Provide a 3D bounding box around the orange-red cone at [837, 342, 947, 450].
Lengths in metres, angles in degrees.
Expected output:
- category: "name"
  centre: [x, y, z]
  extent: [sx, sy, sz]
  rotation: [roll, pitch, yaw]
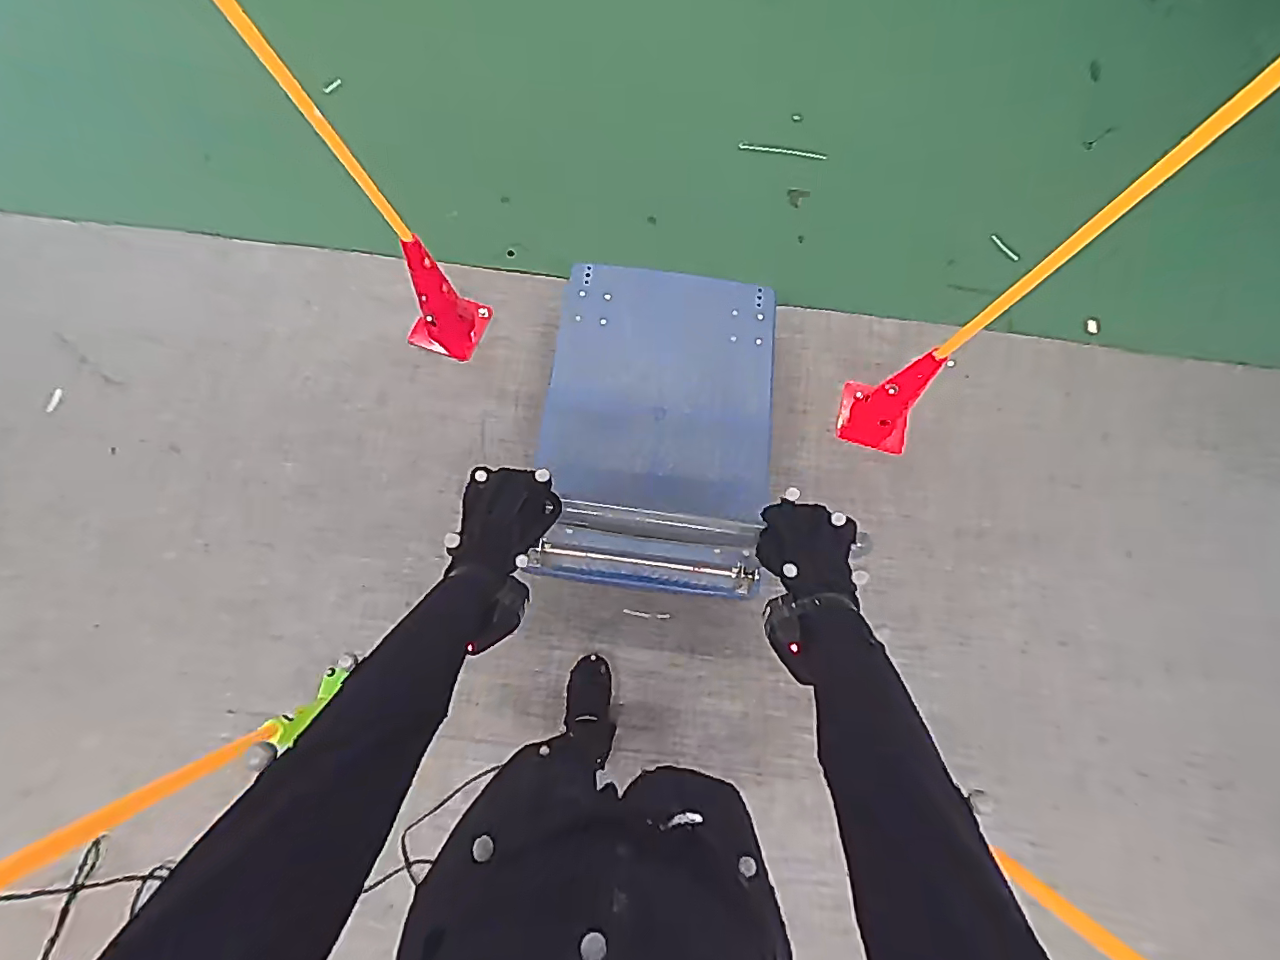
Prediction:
- category: "orange-red cone"
  centre: [0.692, -0.248, 1.421]
  extent: [0.198, 0.360, 0.199]
  rotation: [17, 73, 4]
